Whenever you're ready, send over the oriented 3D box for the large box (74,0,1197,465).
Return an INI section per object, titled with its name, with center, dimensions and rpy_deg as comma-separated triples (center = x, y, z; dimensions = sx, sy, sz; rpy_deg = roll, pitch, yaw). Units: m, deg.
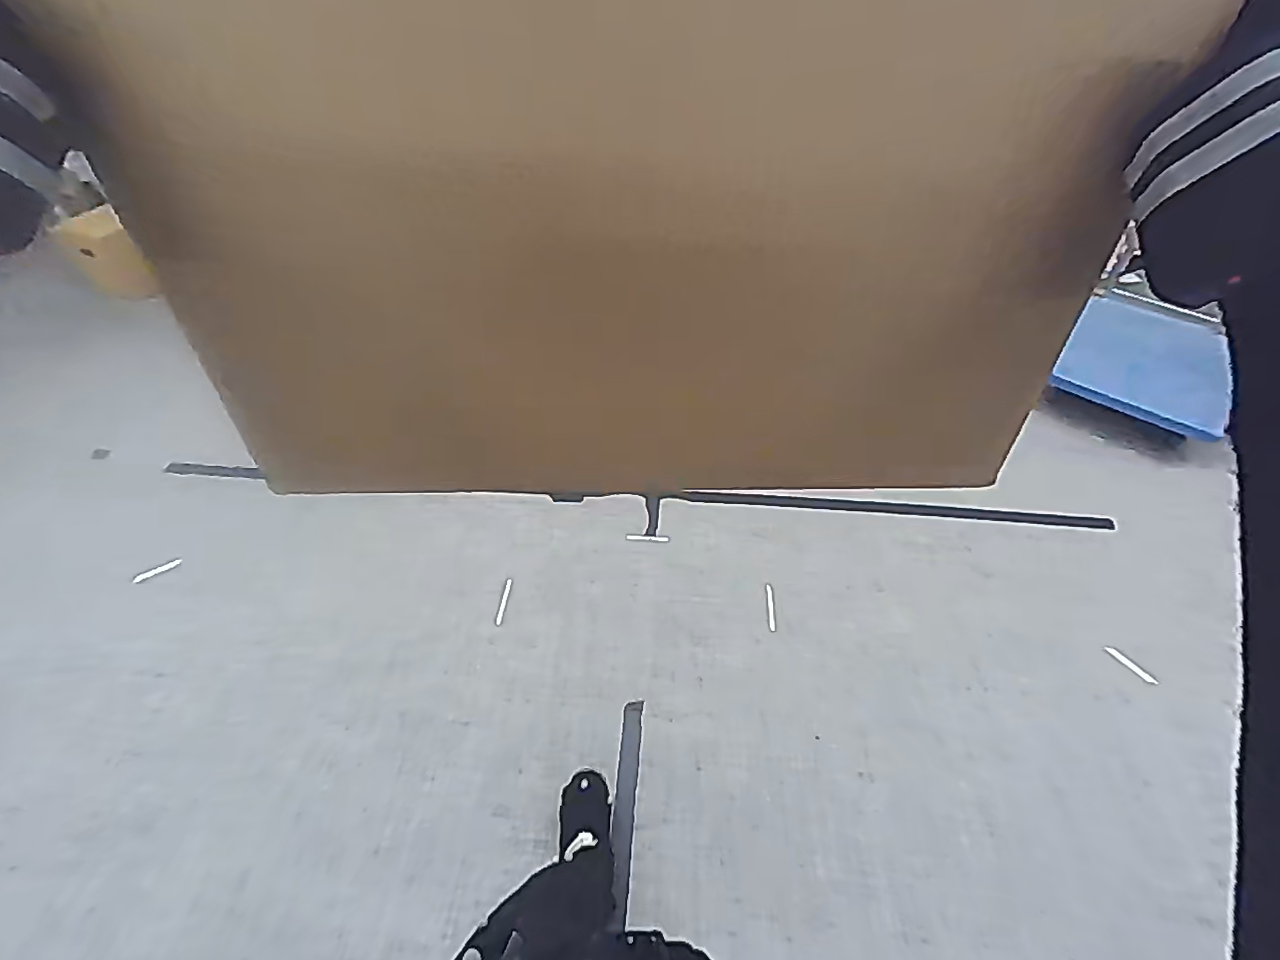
[large box]
center = -0.003, -0.217, 0.335
dimensions = 0.408, 0.320, 0.320
rpy_deg = 0, 39, -1
